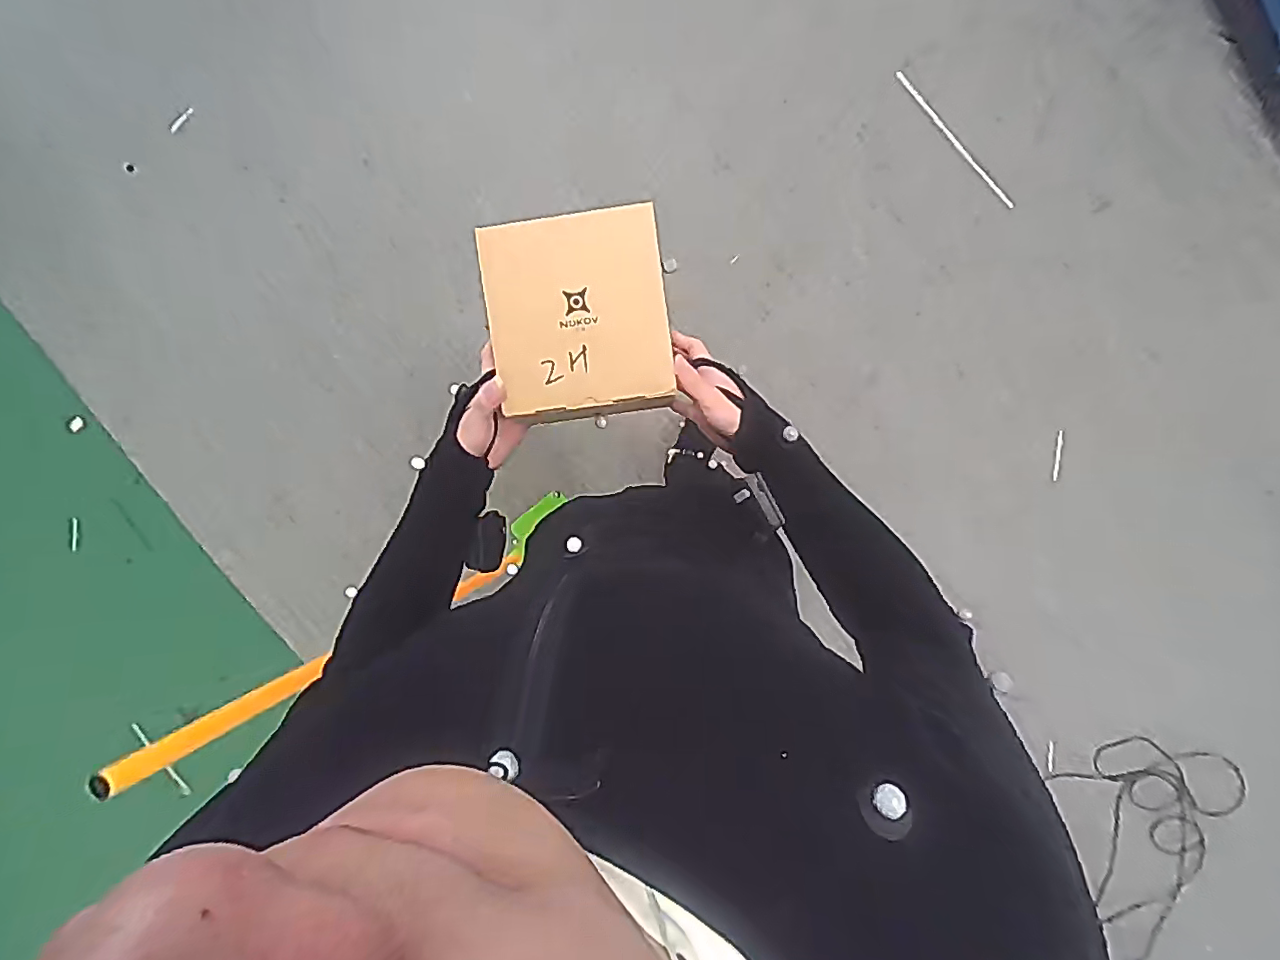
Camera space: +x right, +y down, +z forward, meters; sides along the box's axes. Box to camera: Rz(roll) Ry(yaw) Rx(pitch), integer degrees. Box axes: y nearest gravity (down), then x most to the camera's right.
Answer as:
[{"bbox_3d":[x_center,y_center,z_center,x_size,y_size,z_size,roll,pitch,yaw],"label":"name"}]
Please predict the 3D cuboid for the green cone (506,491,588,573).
[{"bbox_3d":[-0.301,0.179,1.492,0.200,0.368,0.202,-38,92,8],"label":"green cone"}]

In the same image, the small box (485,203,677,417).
[{"bbox_3d":[-0.054,-0.166,0.582,0.168,0.176,0.179,-6,94,2],"label":"small box"}]
